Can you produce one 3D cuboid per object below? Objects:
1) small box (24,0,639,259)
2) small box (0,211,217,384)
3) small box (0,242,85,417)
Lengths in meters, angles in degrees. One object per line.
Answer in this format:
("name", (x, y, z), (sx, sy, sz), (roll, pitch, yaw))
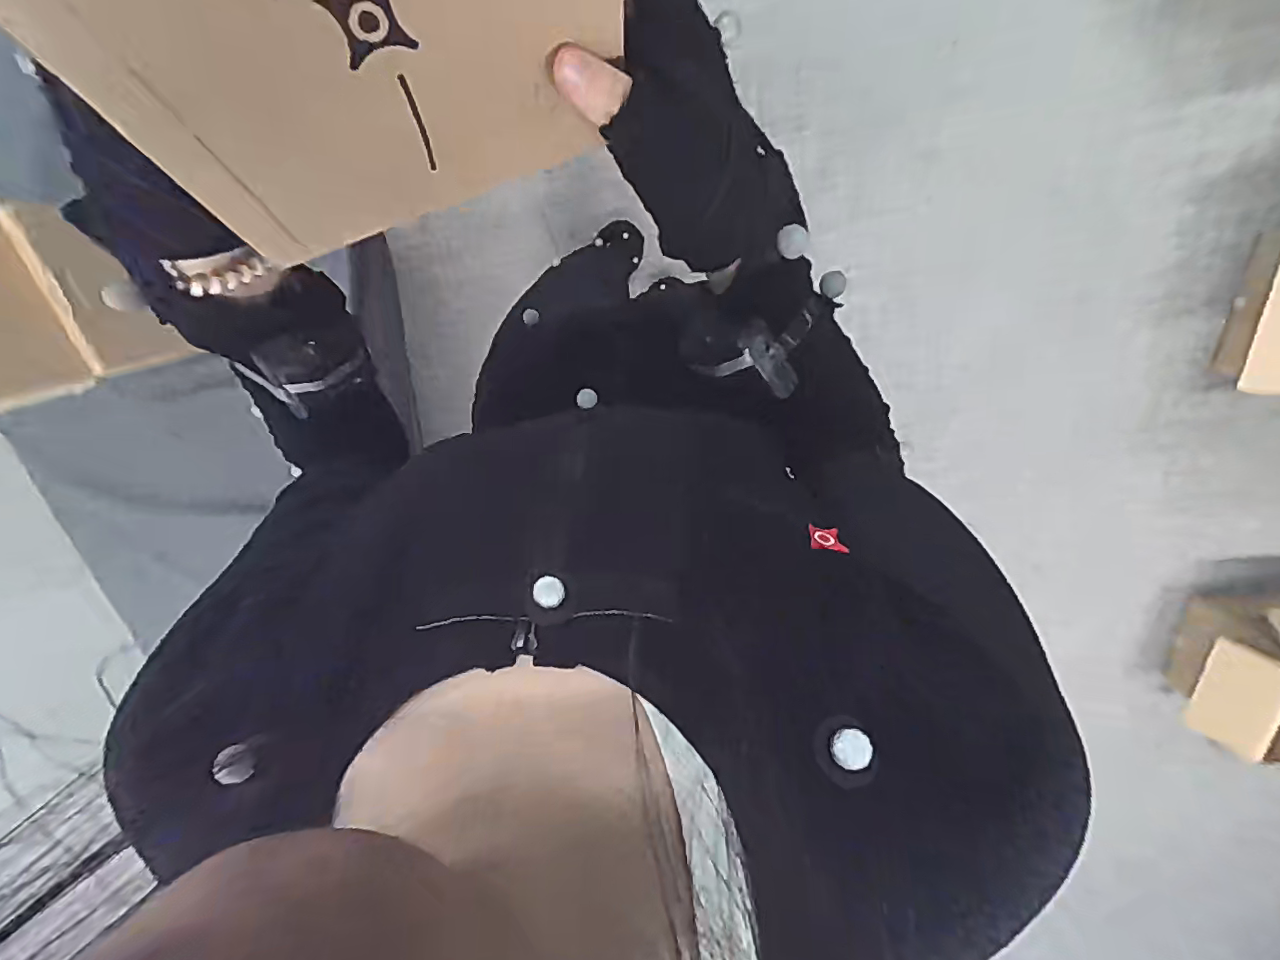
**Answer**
("small box", (-0.108, -0.215, 0.168), (0.168, 0.179, 0.176), (-24, 80, -6))
("small box", (-0.663, -0.201, 0.632), (0.179, 0.176, 0.168), (-10, 112, 9))
("small box", (-0.685, -0.127, 0.488), (0.168, 0.176, 0.179), (-11, 111, 10))
